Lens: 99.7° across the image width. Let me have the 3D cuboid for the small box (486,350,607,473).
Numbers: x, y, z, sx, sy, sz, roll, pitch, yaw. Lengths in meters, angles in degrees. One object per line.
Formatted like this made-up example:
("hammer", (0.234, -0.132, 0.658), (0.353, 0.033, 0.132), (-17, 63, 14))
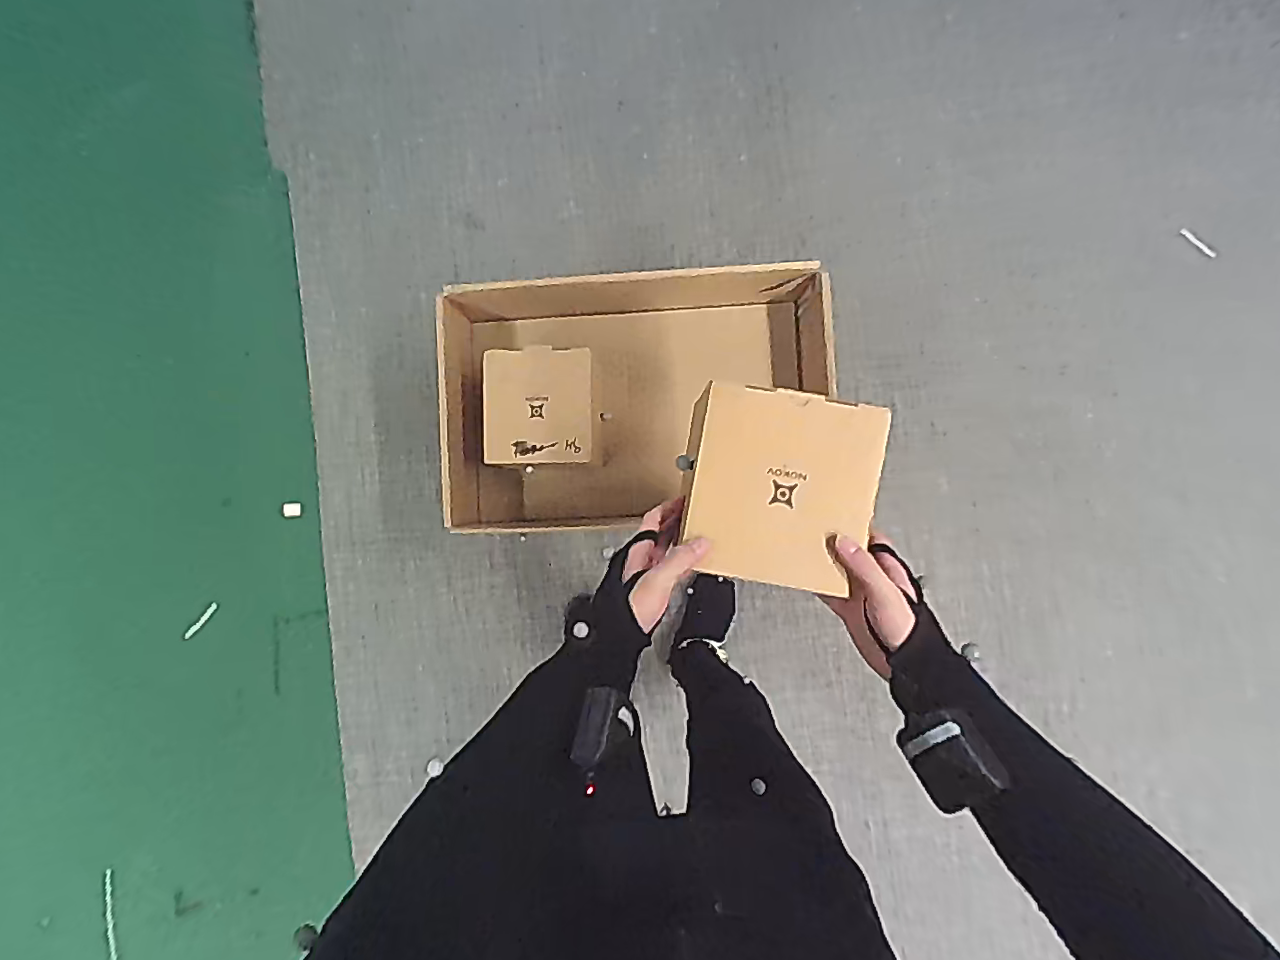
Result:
("small box", (-0.147, -0.105, 0.893), (0.168, 0.176, 0.179), (0, 88, 3))

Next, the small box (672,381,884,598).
("small box", (0.129, 0.008, 0.569), (0.168, 0.176, 0.179), (10, 90, 2))
